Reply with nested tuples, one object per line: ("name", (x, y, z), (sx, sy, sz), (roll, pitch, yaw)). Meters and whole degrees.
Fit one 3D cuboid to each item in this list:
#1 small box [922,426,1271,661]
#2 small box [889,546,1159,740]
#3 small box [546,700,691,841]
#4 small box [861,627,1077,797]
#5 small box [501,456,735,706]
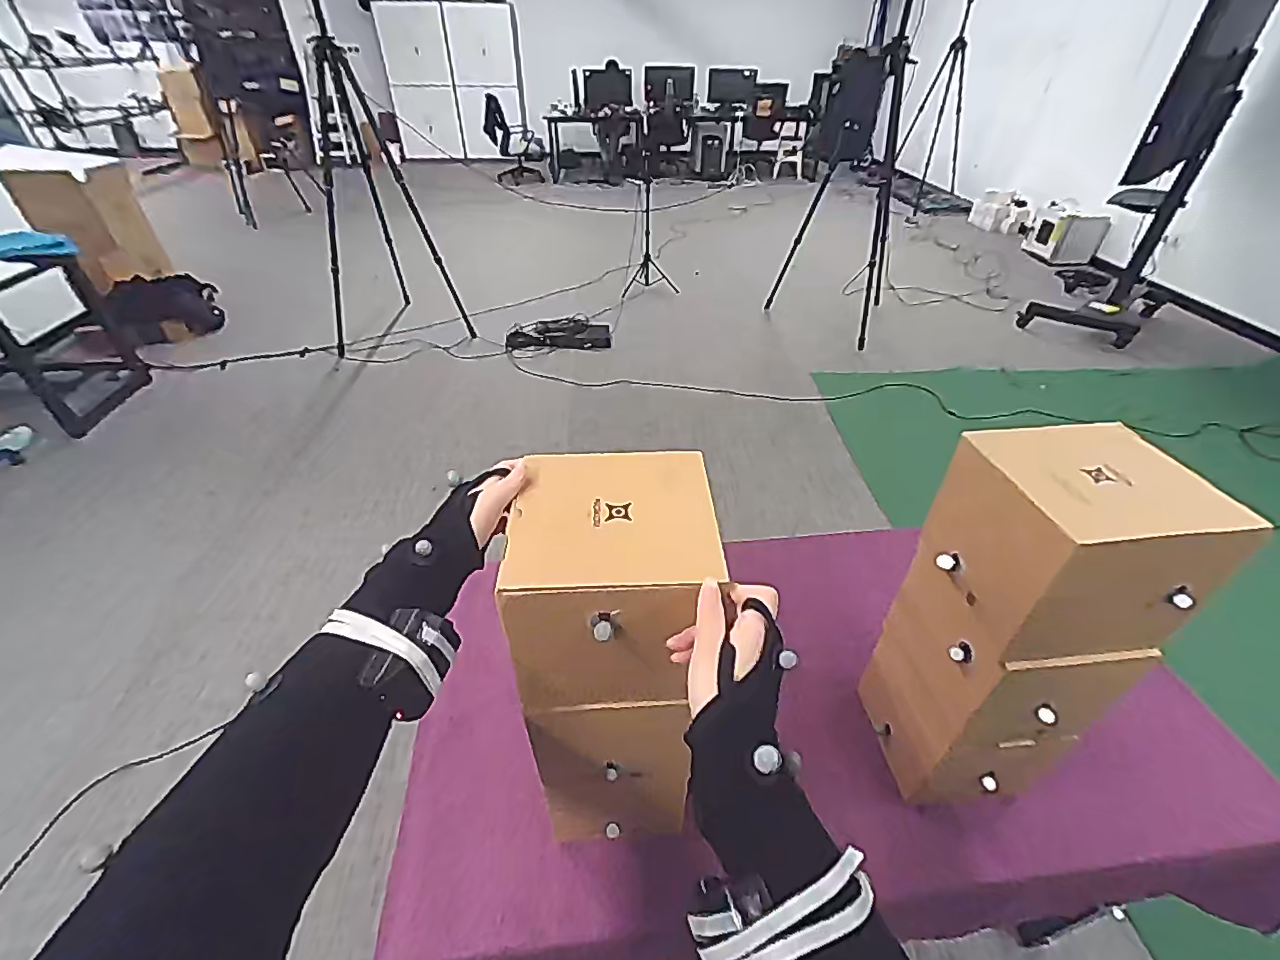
("small box", (0.427, 0.063, 0.548), (0.179, 0.176, 0.168), (-4, 38, -4))
("small box", (0.431, 0.192, 0.648), (0.168, 0.176, 0.179), (-3, 39, -4))
("small box", (-0.029, 0.348, 0.717), (0.168, 0.176, 0.179), (-2, 40, -3))
("small box", (0.435, 0.320, 0.753), (0.168, 0.176, 0.179), (-3, 40, -4))
("small box", (-0.019, 0.094, 0.509), (0.179, 0.176, 0.168), (-2, 40, -2))
